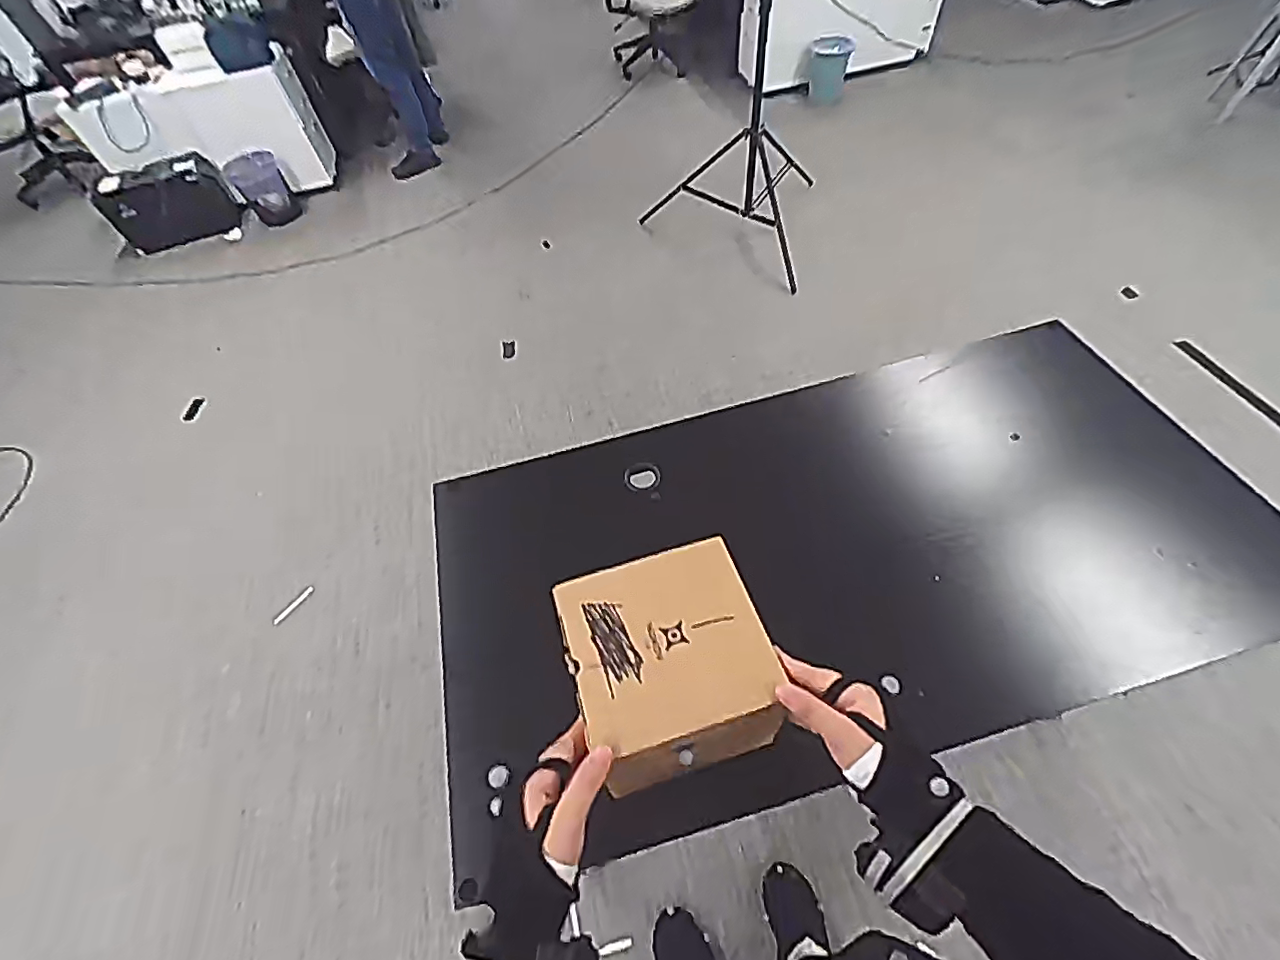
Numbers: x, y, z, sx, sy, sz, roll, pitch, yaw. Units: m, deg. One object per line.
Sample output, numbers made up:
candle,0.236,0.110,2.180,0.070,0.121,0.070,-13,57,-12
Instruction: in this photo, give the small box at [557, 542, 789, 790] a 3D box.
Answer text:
small box,0.029,0.195,0.554,0.179,0.176,0.168,-16,53,-8
